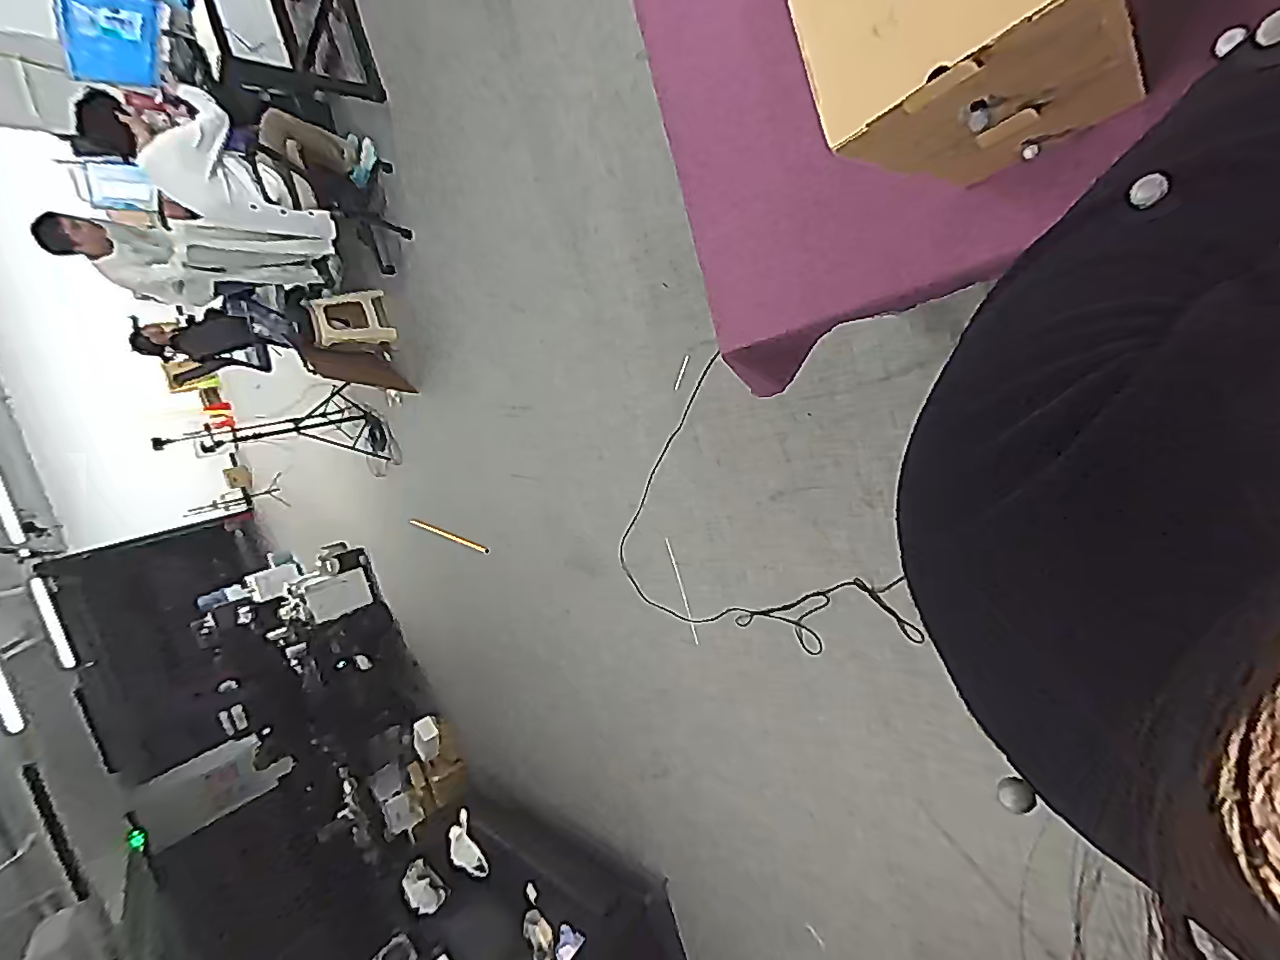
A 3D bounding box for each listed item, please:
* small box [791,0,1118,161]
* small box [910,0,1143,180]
[{"bbox_3d":[0.239,-0.375,0.418,0.168,0.176,0.179,-13,96,48],"label":"small box"},{"bbox_3d":[0.356,-0.423,0.523,0.168,0.176,0.179,-11,97,49],"label":"small box"}]
